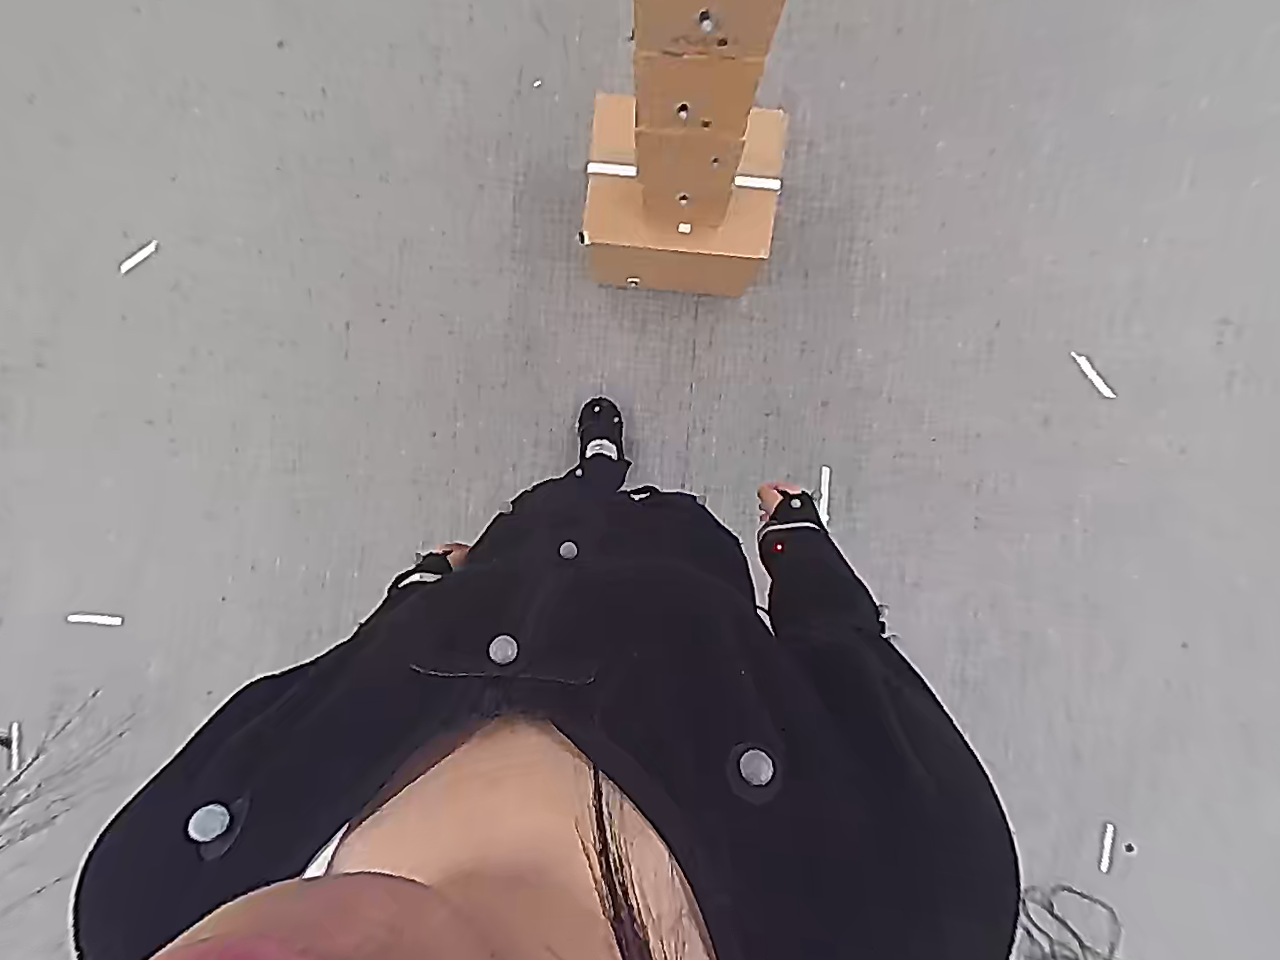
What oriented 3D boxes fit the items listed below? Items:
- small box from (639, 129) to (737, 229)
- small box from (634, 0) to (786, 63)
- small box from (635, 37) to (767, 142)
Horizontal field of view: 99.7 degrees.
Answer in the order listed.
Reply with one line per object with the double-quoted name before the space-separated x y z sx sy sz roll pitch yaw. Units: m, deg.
"small box" 0.091 -0.614 1.069 0.179 0.176 0.168 3 94 -1
"small box" 0.079 -0.598 0.578 0.168 0.176 0.179 3 95 1
"small box" 0.080 -0.606 0.743 0.168 0.176 0.179 4 94 0
